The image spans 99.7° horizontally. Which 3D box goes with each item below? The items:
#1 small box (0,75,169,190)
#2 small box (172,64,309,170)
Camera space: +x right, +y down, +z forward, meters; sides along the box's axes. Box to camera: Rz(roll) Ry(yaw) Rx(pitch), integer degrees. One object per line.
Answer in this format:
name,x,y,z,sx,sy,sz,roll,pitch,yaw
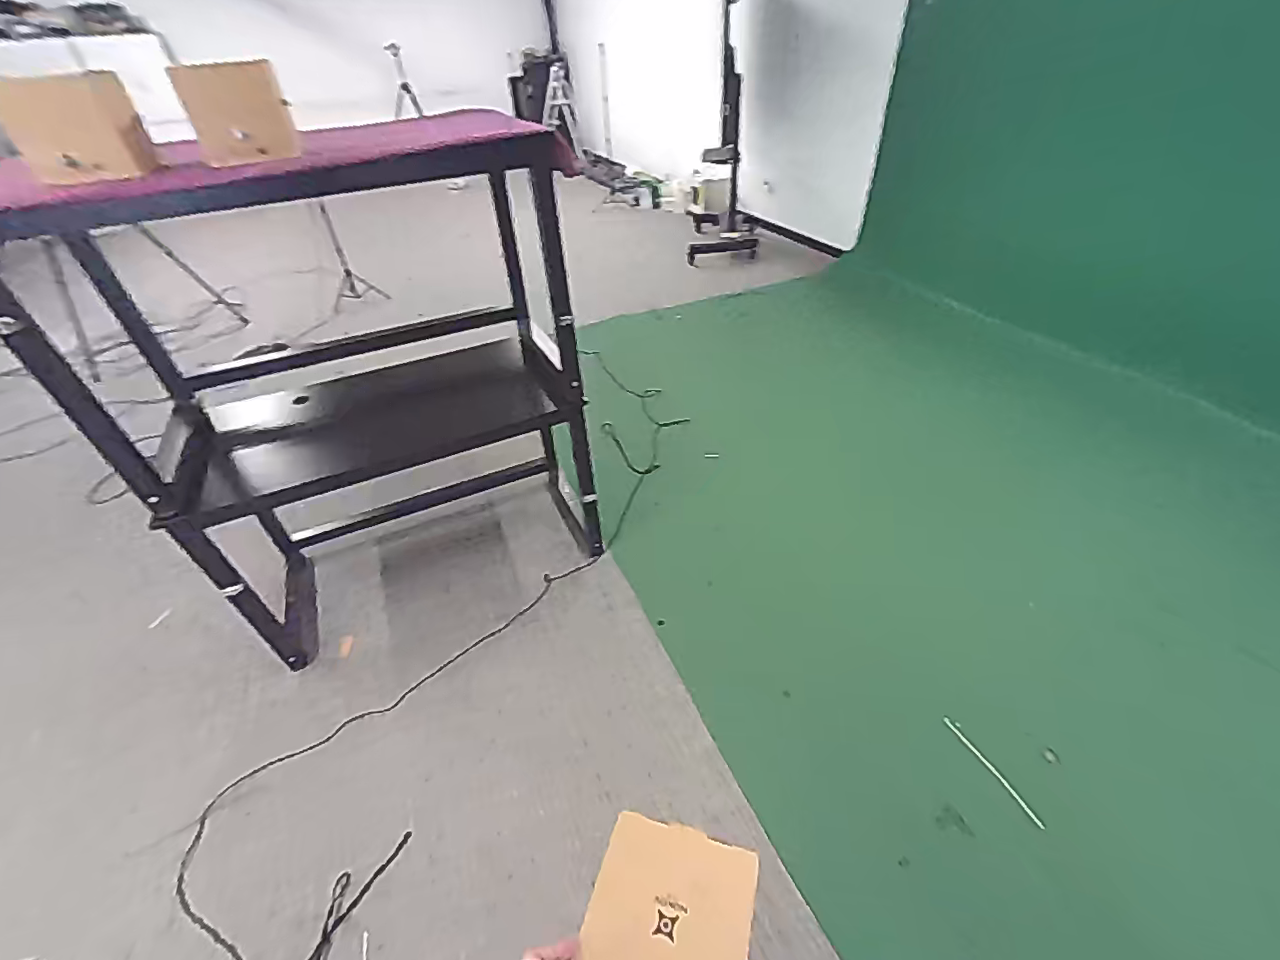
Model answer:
small box,-1.070,-0.675,1.050,0.168,0.176,0.179,-17,41,-14
small box,-0.816,-0.757,1.127,0.168,0.176,0.179,-17,42,-15
